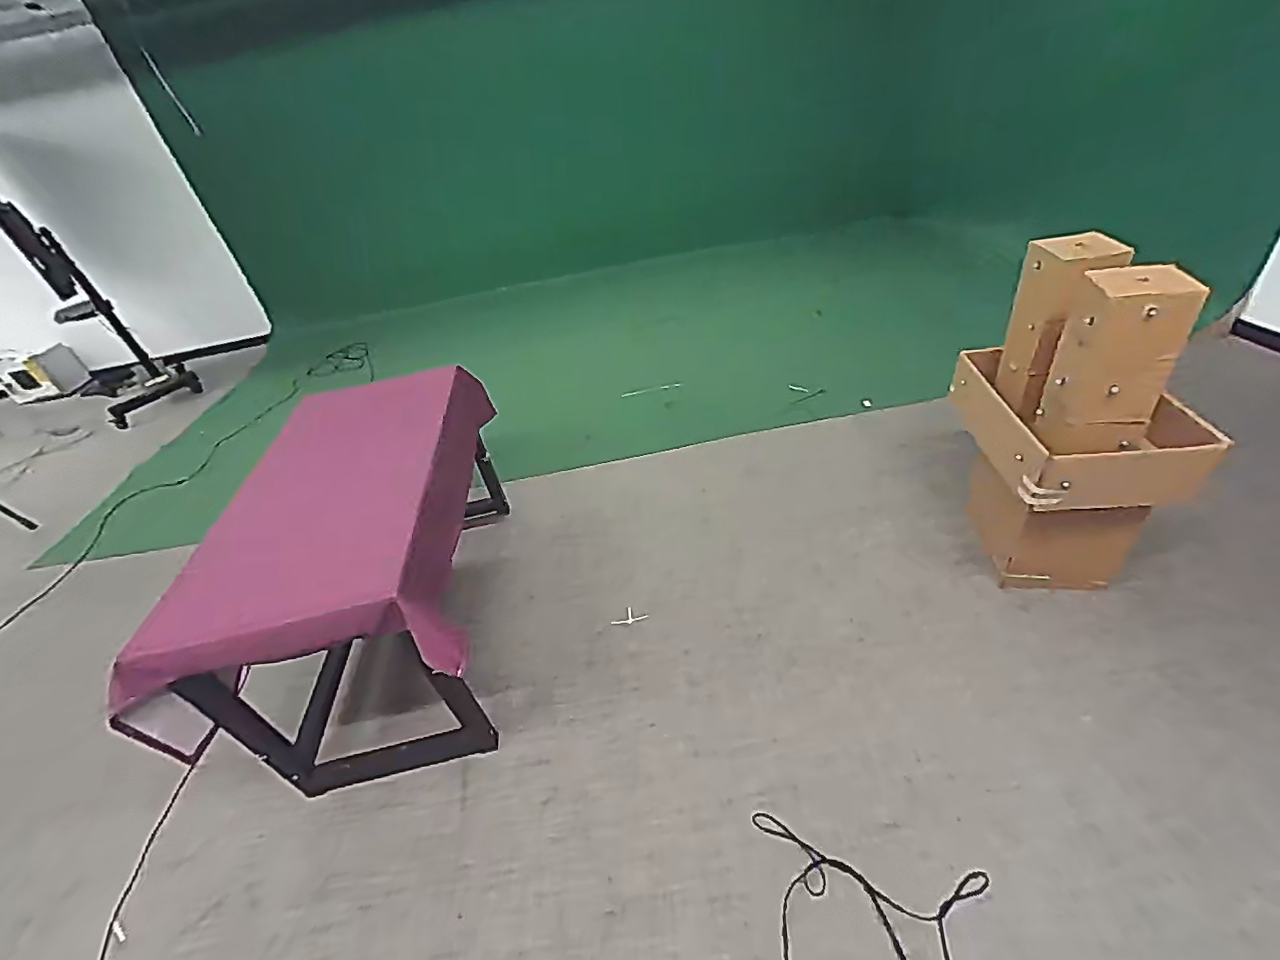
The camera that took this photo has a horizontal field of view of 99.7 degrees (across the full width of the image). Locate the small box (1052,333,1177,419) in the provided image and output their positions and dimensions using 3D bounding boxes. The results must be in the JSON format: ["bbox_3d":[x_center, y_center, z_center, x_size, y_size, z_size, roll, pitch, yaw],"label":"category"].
[{"bbox_3d":[1.173,-0.264,1.359,0.179,0.176,0.168,-1,38,16],"label":"small box"}]

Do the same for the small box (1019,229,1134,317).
[{"bbox_3d":[1.178,-0.564,1.477,0.168,0.176,0.179,-7,39,9],"label":"small box"}]

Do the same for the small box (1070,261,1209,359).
[{"bbox_3d":[1.144,-0.393,1.261,0.179,0.176,0.168,1,39,16],"label":"small box"}]

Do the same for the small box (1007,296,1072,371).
[{"bbox_3d":[1.210,-0.438,1.578,0.168,0.176,0.179,-6,39,10],"label":"small box"}]
